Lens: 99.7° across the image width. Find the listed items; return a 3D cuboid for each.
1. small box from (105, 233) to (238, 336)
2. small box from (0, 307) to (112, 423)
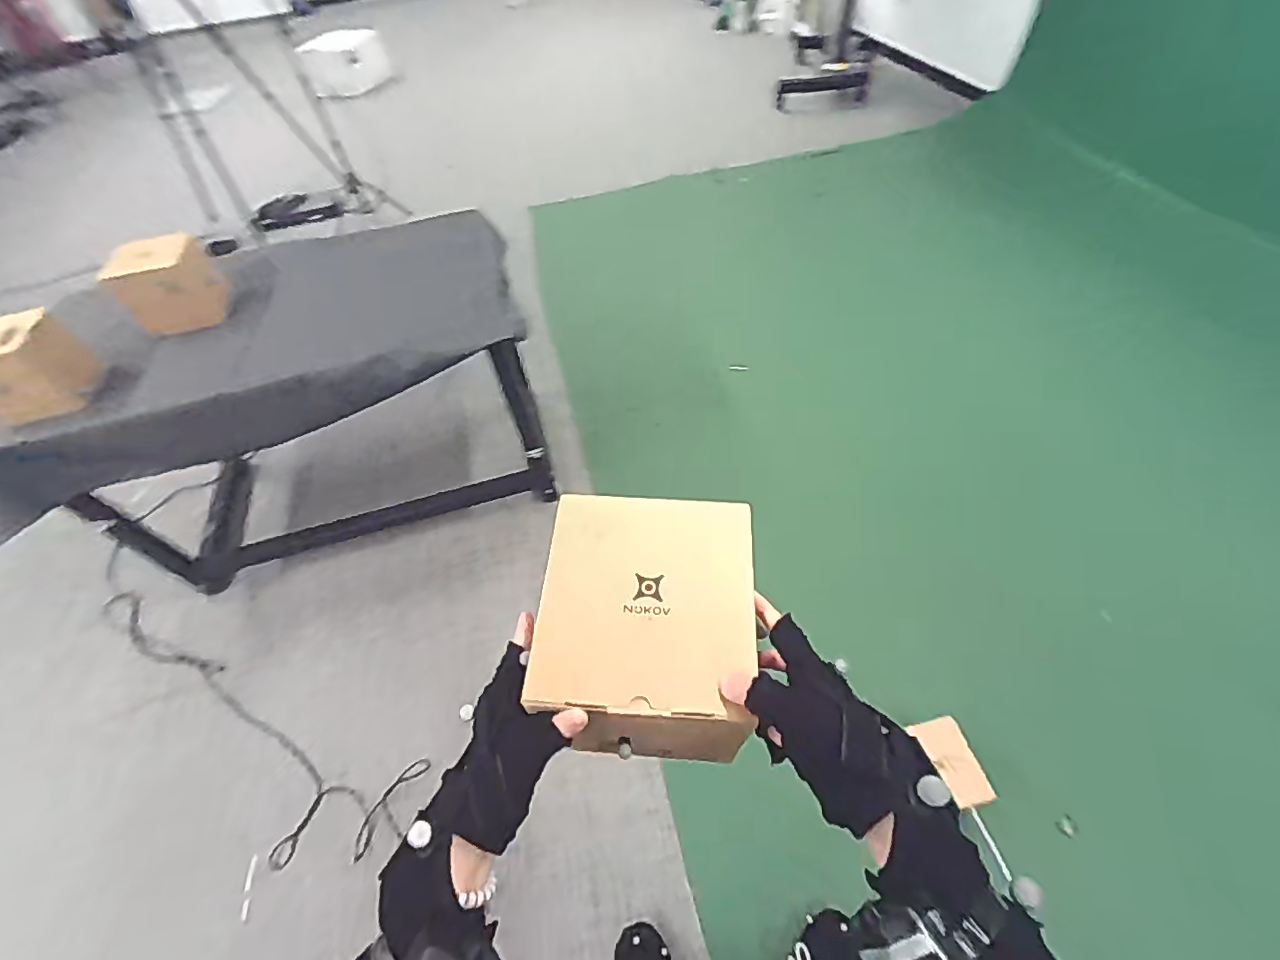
[{"bbox_3d":[-1.169,-0.493,1.369,0.179,0.176,0.168,-13,53,-5],"label":"small box"},{"bbox_3d":[-1.351,-0.252,1.202,0.179,0.176,0.168,-15,52,-5],"label":"small box"}]
